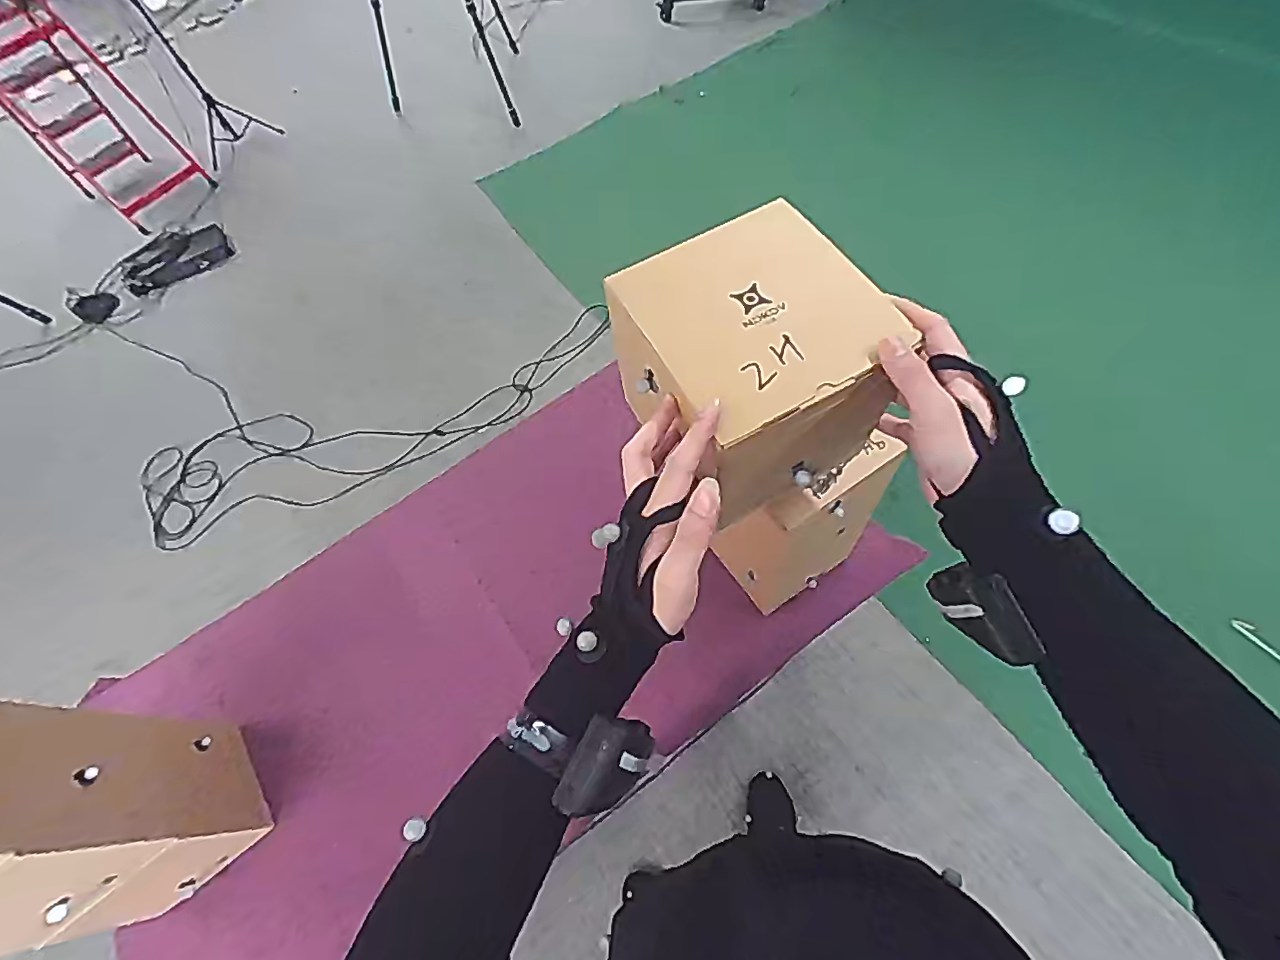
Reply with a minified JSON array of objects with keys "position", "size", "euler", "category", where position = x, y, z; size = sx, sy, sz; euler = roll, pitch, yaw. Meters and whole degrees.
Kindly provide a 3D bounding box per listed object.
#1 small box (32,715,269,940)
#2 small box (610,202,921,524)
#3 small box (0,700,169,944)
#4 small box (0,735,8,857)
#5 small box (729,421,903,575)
[{"position":[-0.649,0.447,0.722],"size":[0.168,0.176,0.179],"euler":[-38,64,-12],"category":"small box"},{"position":[0.090,-0.090,0.467],"size":[0.168,0.176,0.179],"euler":[-27,66,-7],"category":"small box"},{"position":[-0.668,0.369,0.580],"size":[0.168,0.176,0.179],"euler":[-38,64,-12],"category":"small box"},{"position":[-0.688,0.294,0.438],"size":[0.168,0.176,0.179],"euler":[-39,64,-12],"category":"small box"},{"position":[0.179,-0.013,0.669],"size":[0.168,0.176,0.179],"euler":[-33,61,-9],"category":"small box"}]
